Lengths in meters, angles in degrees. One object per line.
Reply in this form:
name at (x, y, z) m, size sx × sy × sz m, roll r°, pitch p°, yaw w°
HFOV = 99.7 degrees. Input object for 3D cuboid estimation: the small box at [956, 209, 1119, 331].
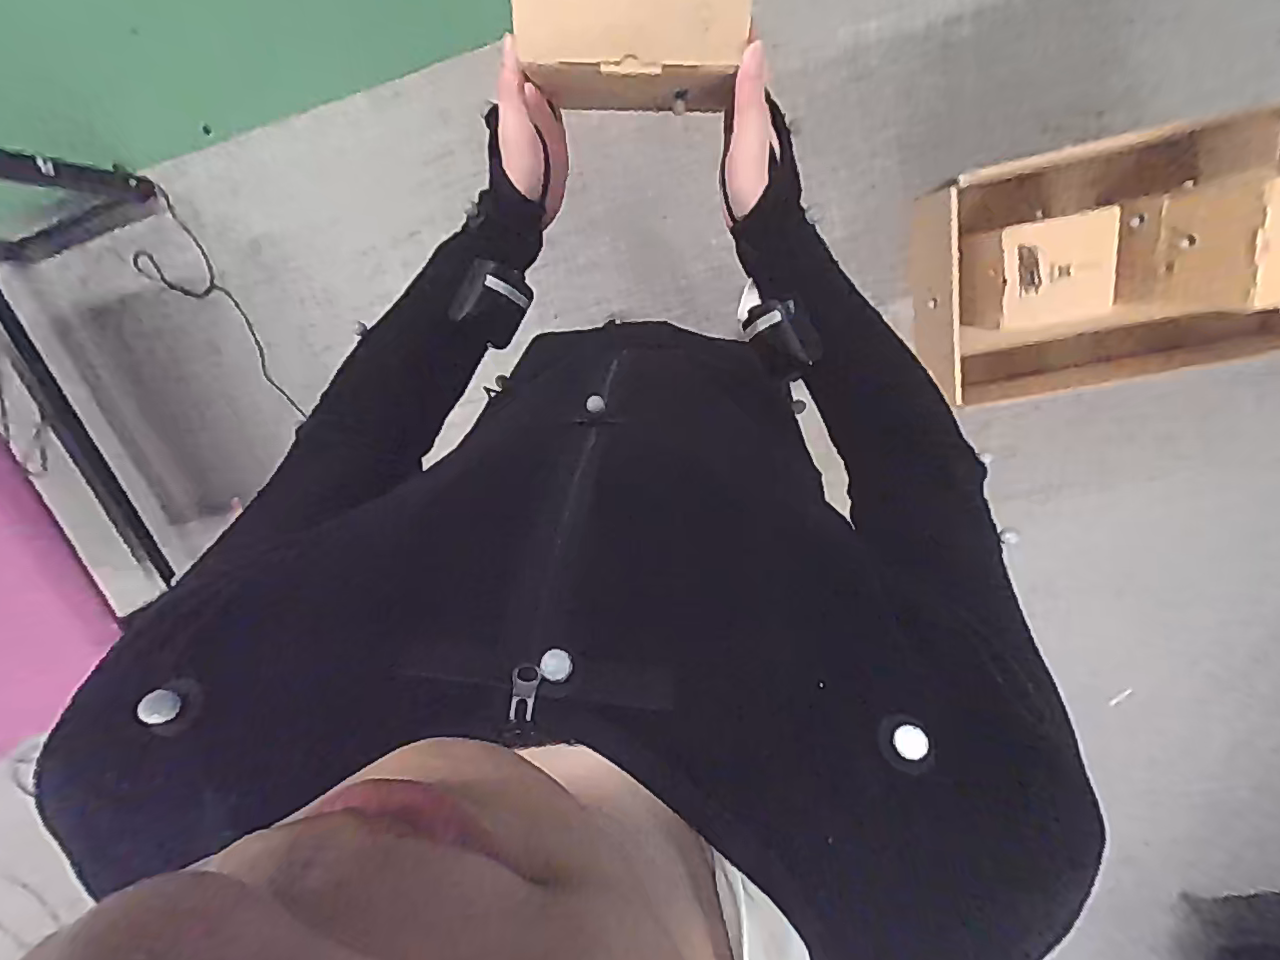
small box at (0.685, -0.364, 0.958) m, size 0.179 × 0.176 × 0.168 m, roll -9°, pitch 109°, yaw 6°

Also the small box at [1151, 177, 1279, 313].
small box at (0.906, -0.344, 0.778) m, size 0.179 × 0.176 × 0.168 m, roll -9°, pitch 109°, yaw 9°

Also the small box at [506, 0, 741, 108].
small box at (-0.004, -0.406, 0.419) m, size 0.168 × 0.176 × 0.179 m, roll 3°, pitch 116°, yaw 2°
